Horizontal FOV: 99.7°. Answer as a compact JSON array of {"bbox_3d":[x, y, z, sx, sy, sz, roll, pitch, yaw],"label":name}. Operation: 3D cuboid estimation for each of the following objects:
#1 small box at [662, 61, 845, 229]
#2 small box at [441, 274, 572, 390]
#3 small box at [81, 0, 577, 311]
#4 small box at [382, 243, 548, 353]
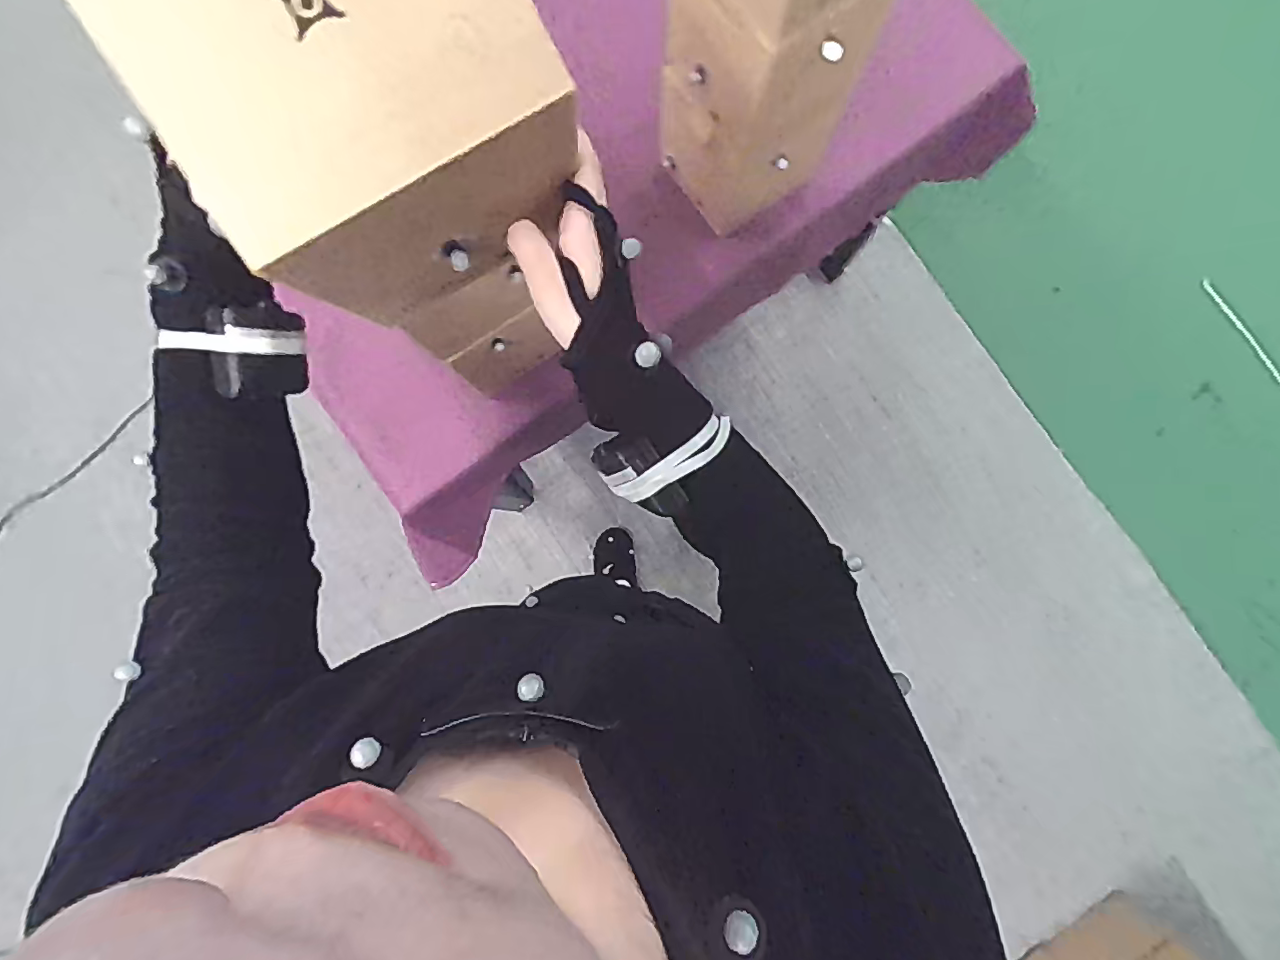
[{"bbox_3d":[0.146,-0.498,0.763,0.179,0.176,0.168,-35,86,-3],"label":"small box"},{"bbox_3d":[-0.214,-0.252,0.744,0.168,0.176,0.179,-34,85,-2],"label":"small box"},{"bbox_3d":[-0.144,-0.212,0.305,0.168,0.176,0.179,-30,99,-1],"label":"small box"},{"bbox_3d":[-0.214,-0.267,0.581,0.179,0.176,0.168,-33,85,-2],"label":"small box"}]
